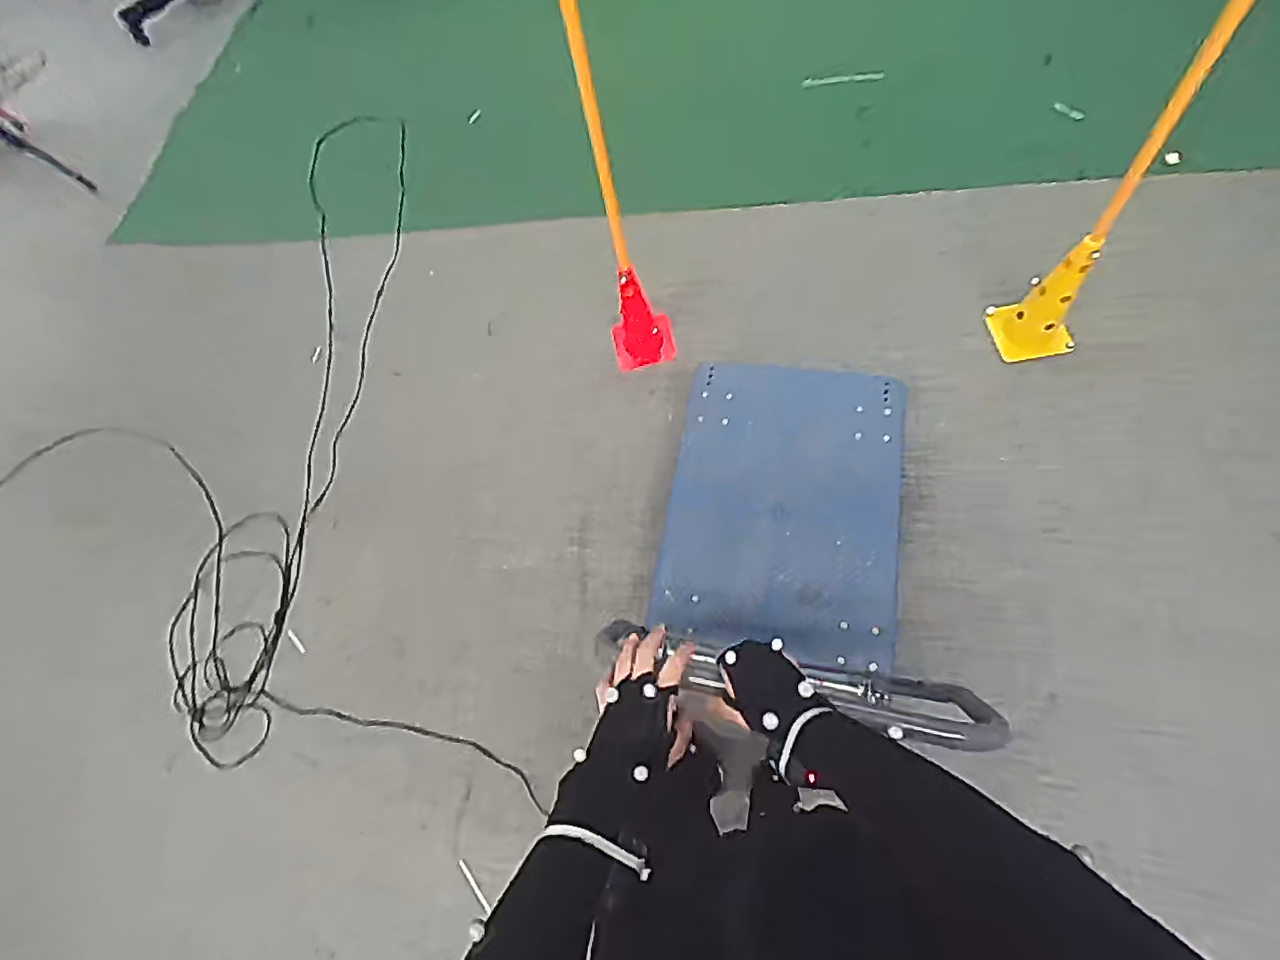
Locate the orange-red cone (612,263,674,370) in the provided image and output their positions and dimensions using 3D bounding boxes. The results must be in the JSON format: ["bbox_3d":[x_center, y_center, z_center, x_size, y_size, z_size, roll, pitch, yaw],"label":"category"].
[{"bbox_3d":[-0.022,-0.537,1.700,0.199,0.360,0.198,-13,66,6],"label":"orange-red cone"}]
